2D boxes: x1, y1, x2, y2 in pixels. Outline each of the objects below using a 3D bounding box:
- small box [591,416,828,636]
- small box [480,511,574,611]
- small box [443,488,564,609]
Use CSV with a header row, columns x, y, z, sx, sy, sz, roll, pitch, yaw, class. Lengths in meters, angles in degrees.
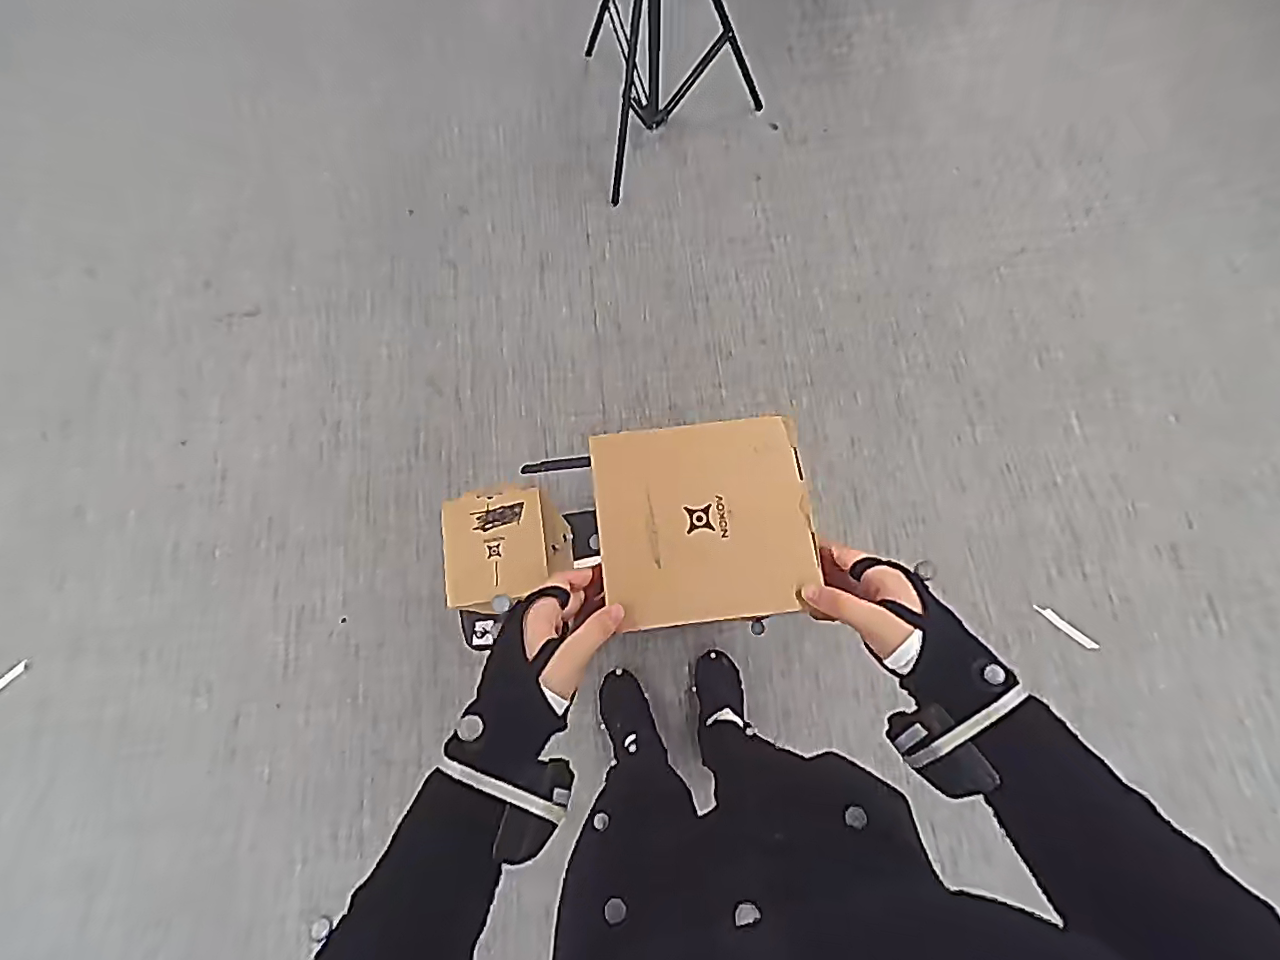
x,y,z,sx,sy,sz,roll,pitch,yaw,class
0.053,0.054,0.517,0.179,0.176,0.168,-8,73,-1,small box
-0.228,0.174,1.105,0.168,0.176,0.179,-7,75,-1,small box
-0.233,0.126,0.948,0.168,0.176,0.179,-9,76,-2,small box
